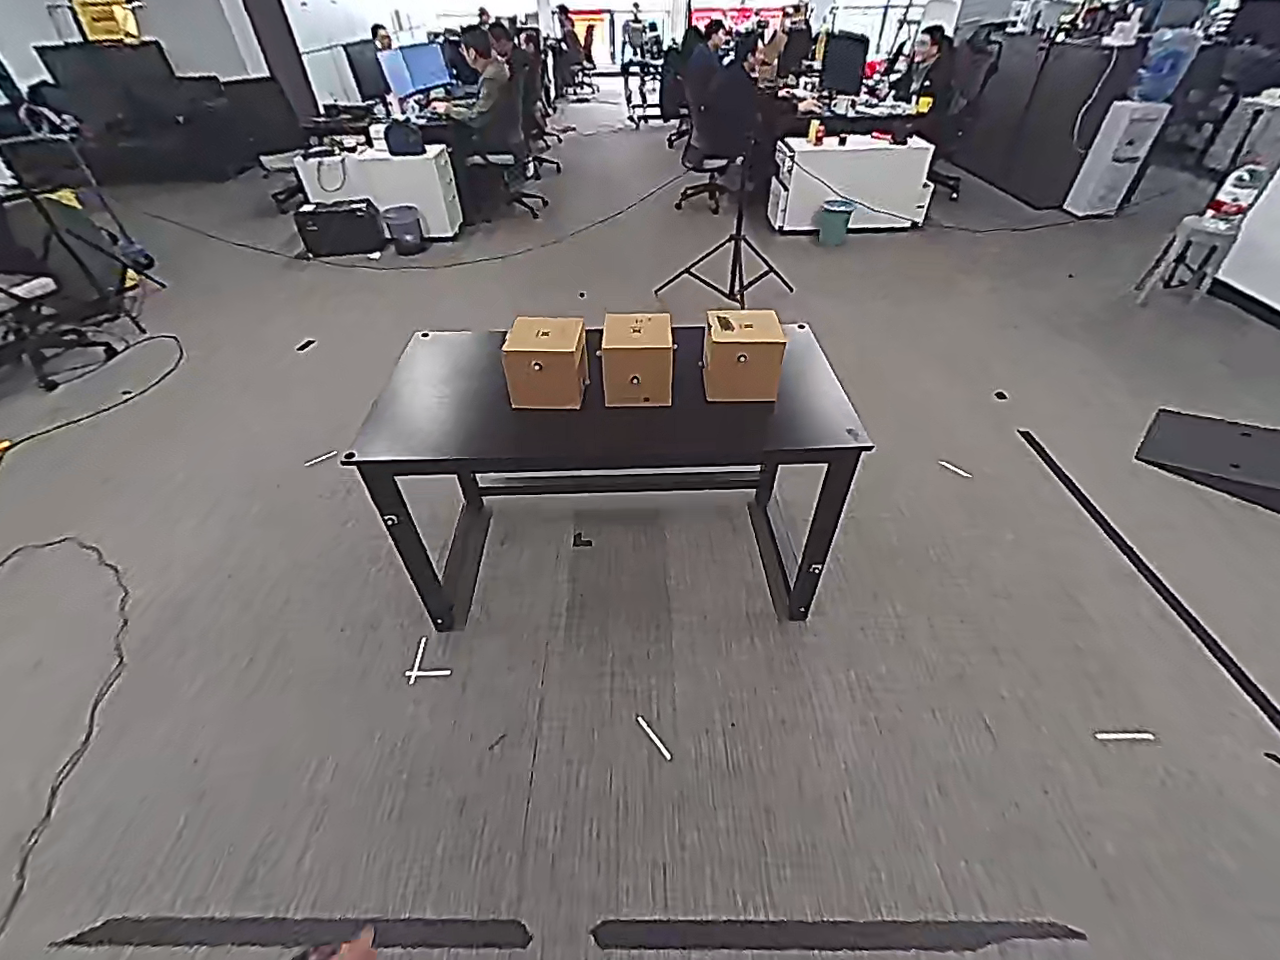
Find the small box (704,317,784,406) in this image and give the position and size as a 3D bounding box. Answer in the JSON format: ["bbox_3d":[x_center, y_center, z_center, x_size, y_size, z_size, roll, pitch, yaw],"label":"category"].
[{"bbox_3d":[0.257,-0.302,1.381,0.179,0.176,0.168,0,42,1],"label":"small box"}]

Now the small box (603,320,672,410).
[{"bbox_3d":[-0.003,-0.289,1.375,0.168,0.176,0.179,0,42,1],"label":"small box"}]
